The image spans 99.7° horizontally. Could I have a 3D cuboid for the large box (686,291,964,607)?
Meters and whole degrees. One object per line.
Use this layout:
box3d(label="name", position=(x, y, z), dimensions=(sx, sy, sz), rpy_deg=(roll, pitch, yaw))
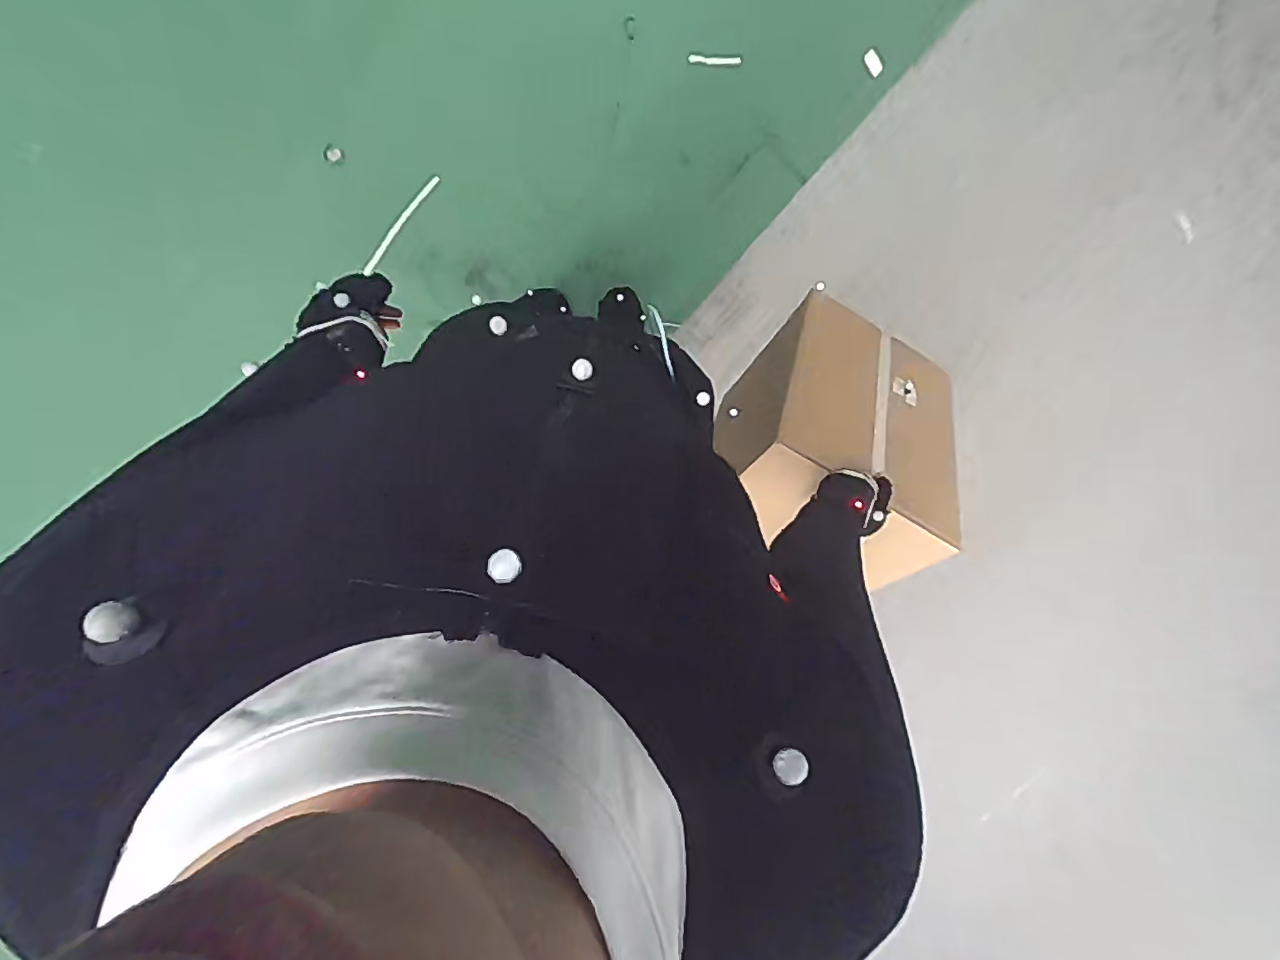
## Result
box3d(label="large box", position=(0.319, -0.048, 0.972), dimensions=(0.320, 0.408, 0.320), rpy_deg=(29, 141, -8))
